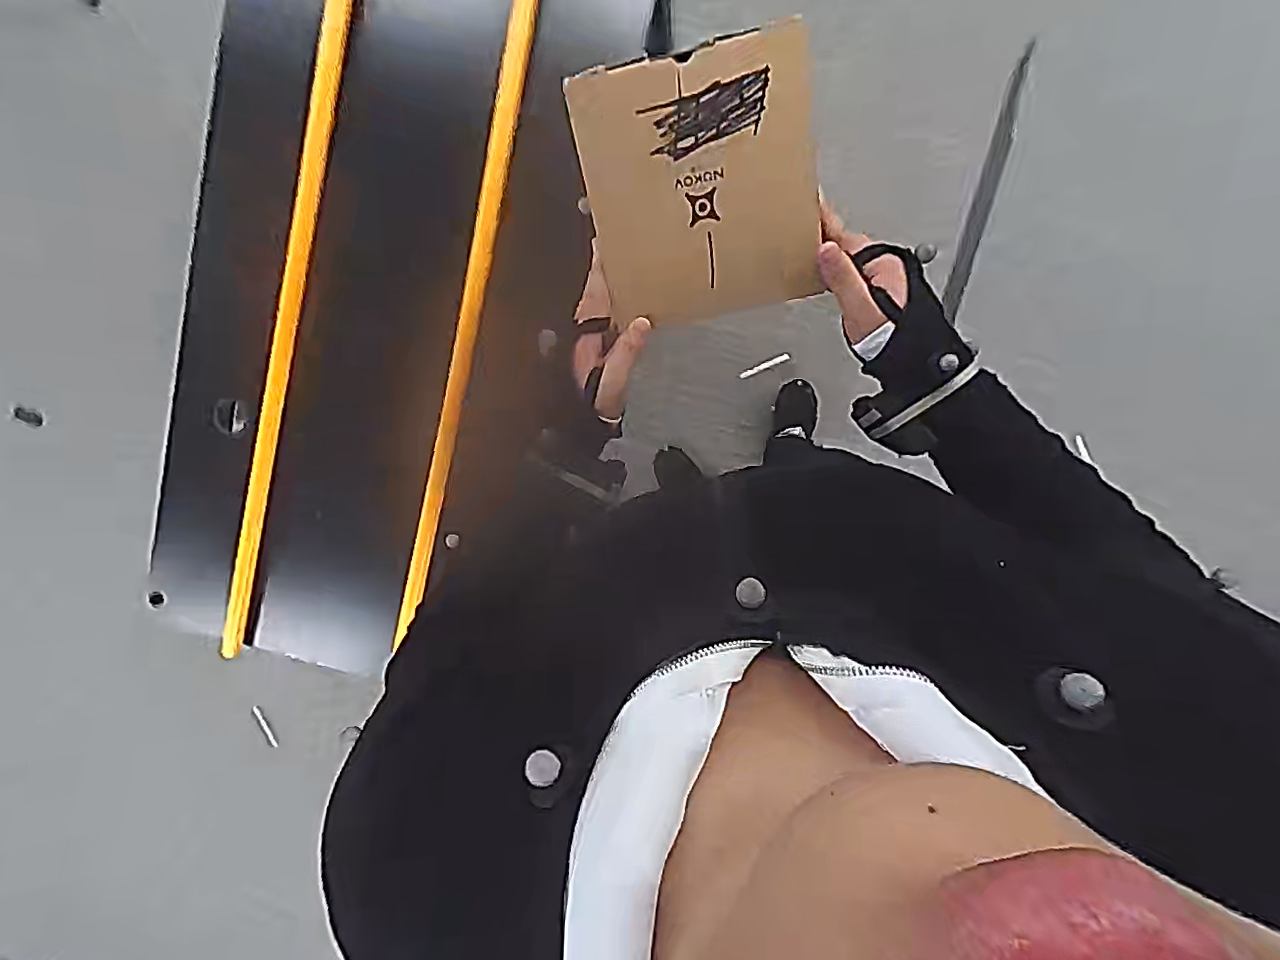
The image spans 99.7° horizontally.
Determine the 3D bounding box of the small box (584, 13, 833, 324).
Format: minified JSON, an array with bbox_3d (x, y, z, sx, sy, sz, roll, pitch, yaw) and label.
[{"bbox_3d":[0.057,-0.247,0.463,0.168,0.176,0.179,-9,115,7],"label":"small box"}]
